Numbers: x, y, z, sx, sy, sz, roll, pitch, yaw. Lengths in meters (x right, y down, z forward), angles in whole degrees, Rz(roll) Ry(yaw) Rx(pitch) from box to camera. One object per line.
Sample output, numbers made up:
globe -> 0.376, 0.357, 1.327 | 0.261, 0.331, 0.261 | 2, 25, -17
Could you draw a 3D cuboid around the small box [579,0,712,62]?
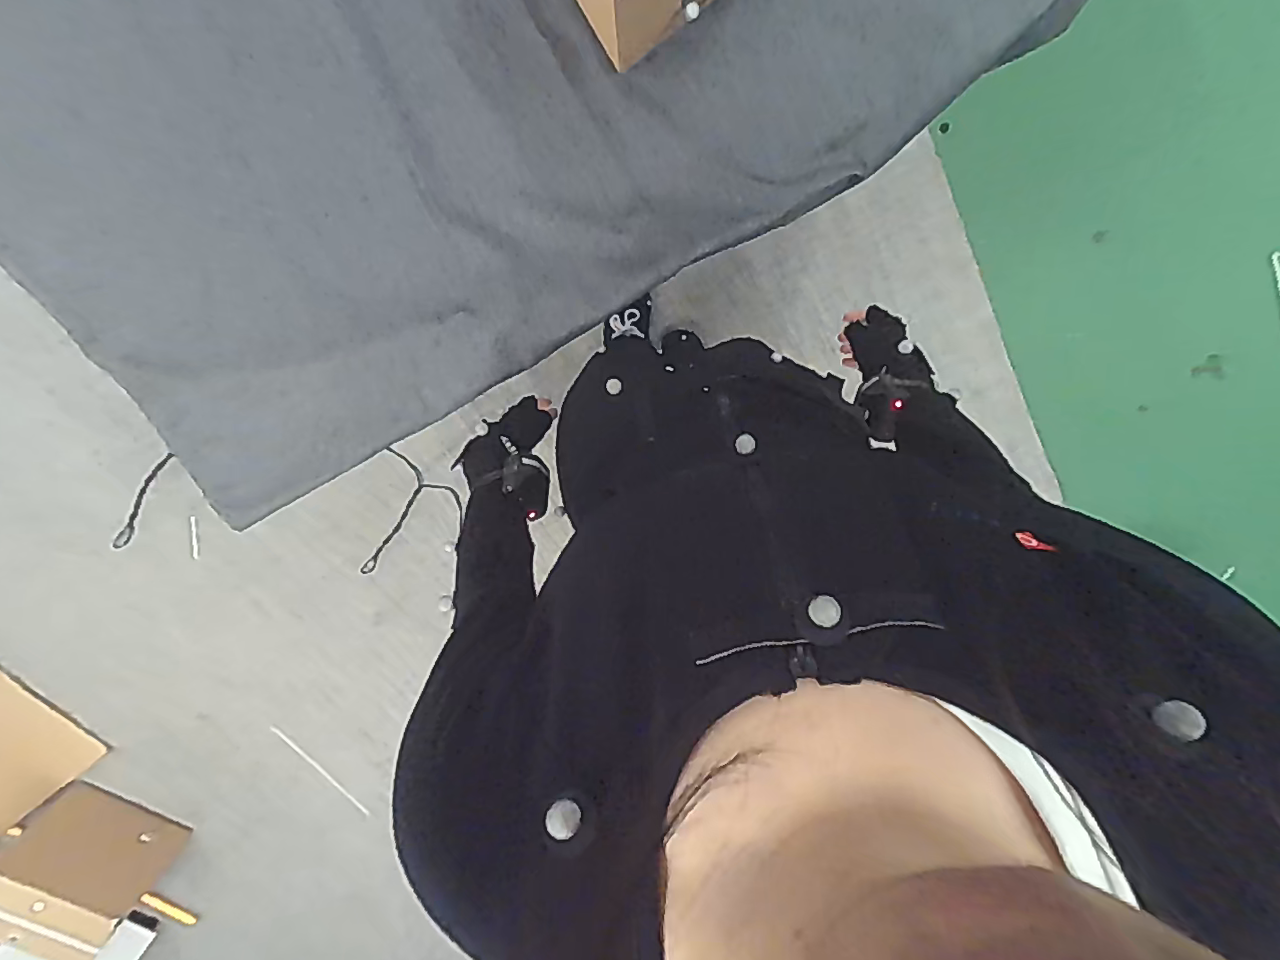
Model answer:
small box -> -0.003, -0.531, 0.478 | 0.168, 0.176, 0.179 | -32, 107, 10
